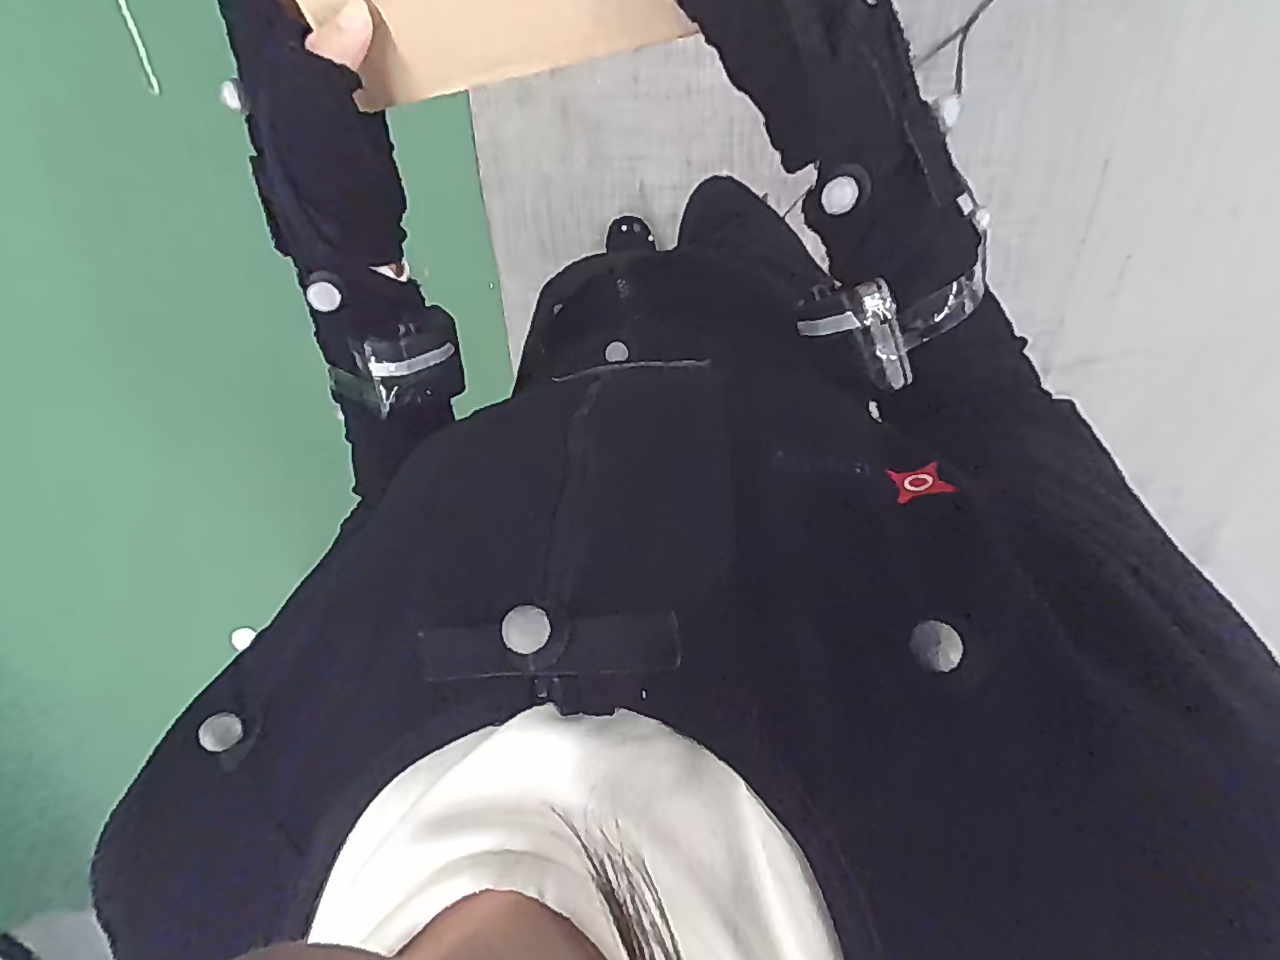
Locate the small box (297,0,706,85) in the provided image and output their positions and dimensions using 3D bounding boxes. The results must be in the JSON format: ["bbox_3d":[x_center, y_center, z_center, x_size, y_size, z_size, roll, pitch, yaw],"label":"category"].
[{"bbox_3d":[-0.064,-0.302,0.224,0.179,0.176,0.168,-1,144,10],"label":"small box"}]
